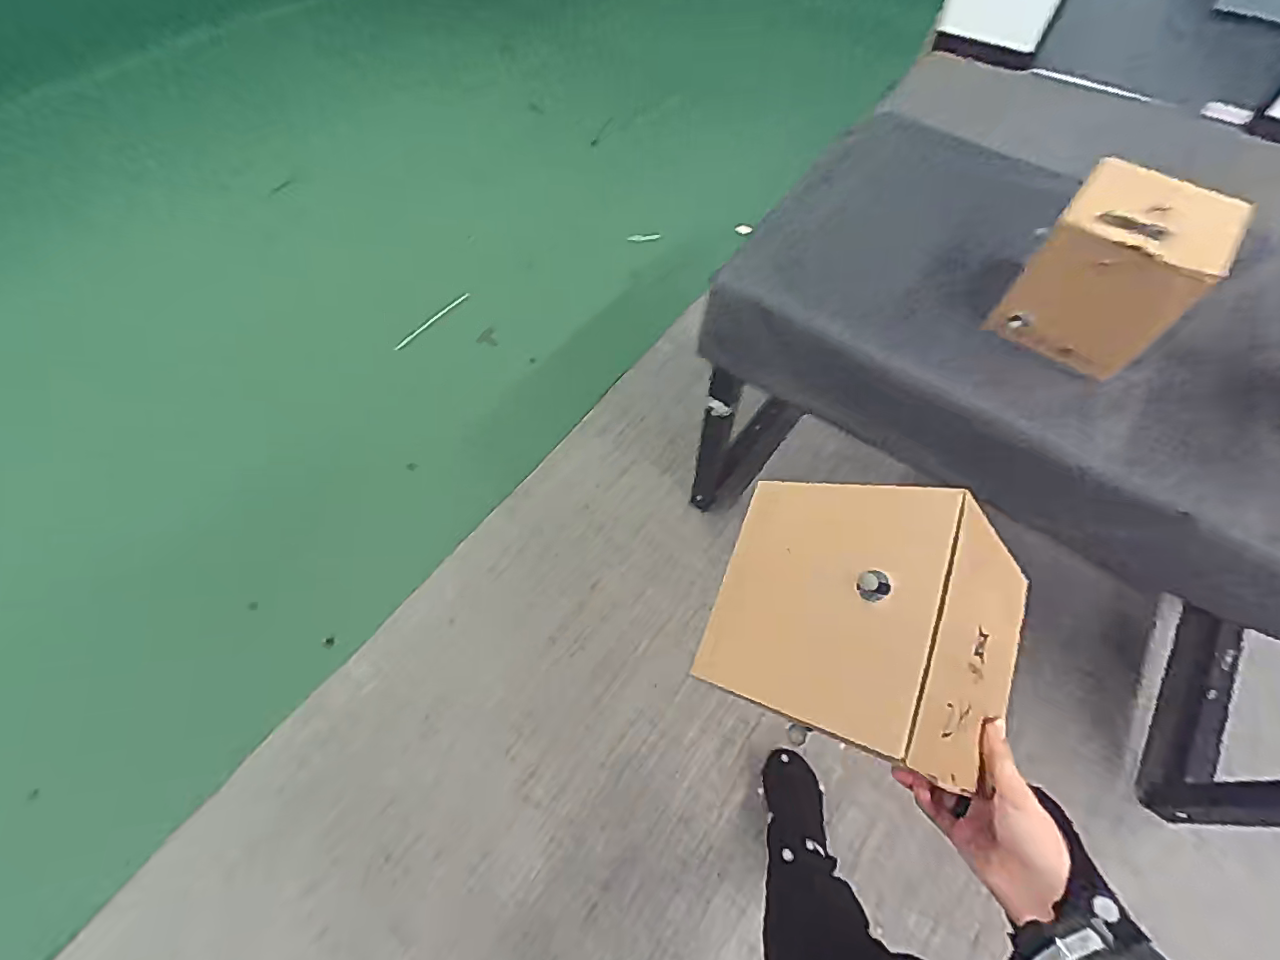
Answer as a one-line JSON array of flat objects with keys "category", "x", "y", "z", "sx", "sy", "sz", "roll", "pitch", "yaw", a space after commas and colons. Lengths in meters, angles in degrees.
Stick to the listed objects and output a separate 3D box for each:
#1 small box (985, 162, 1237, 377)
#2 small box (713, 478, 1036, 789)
[{"category": "small box", "x": 0.591, "y": -0.268, "z": 0.703, "sx": 0.168, "sy": 0.176, "sz": 0.179, "roll": 36, "pitch": 65, "yaw": 19}, {"category": "small box", "x": 0.185, "y": 0.108, "z": 0.432, "sx": 0.176, "sy": 0.168, "sz": 0.179, "roll": 4, "pitch": 64, "yaw": 51}]
